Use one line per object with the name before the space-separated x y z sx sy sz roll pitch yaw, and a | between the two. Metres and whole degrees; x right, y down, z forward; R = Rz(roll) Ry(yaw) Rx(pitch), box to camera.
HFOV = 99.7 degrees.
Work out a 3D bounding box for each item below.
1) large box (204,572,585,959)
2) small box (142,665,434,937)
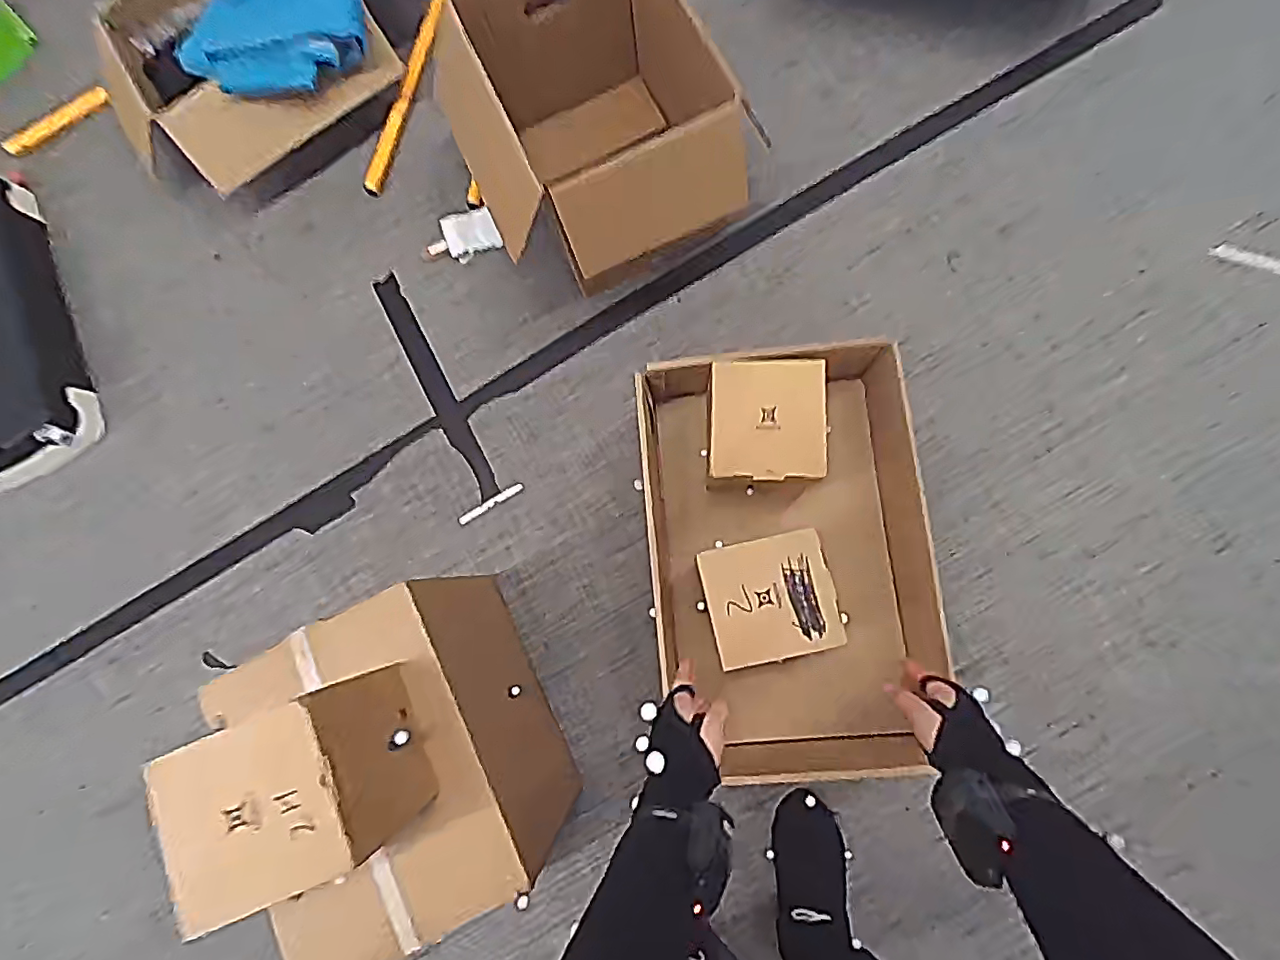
large box | -0.328 0.389 0.813 0.320 0.320 0.408 -28 81 2
small box | -0.356 0.318 0.576 0.179 0.176 0.168 -24 81 1
